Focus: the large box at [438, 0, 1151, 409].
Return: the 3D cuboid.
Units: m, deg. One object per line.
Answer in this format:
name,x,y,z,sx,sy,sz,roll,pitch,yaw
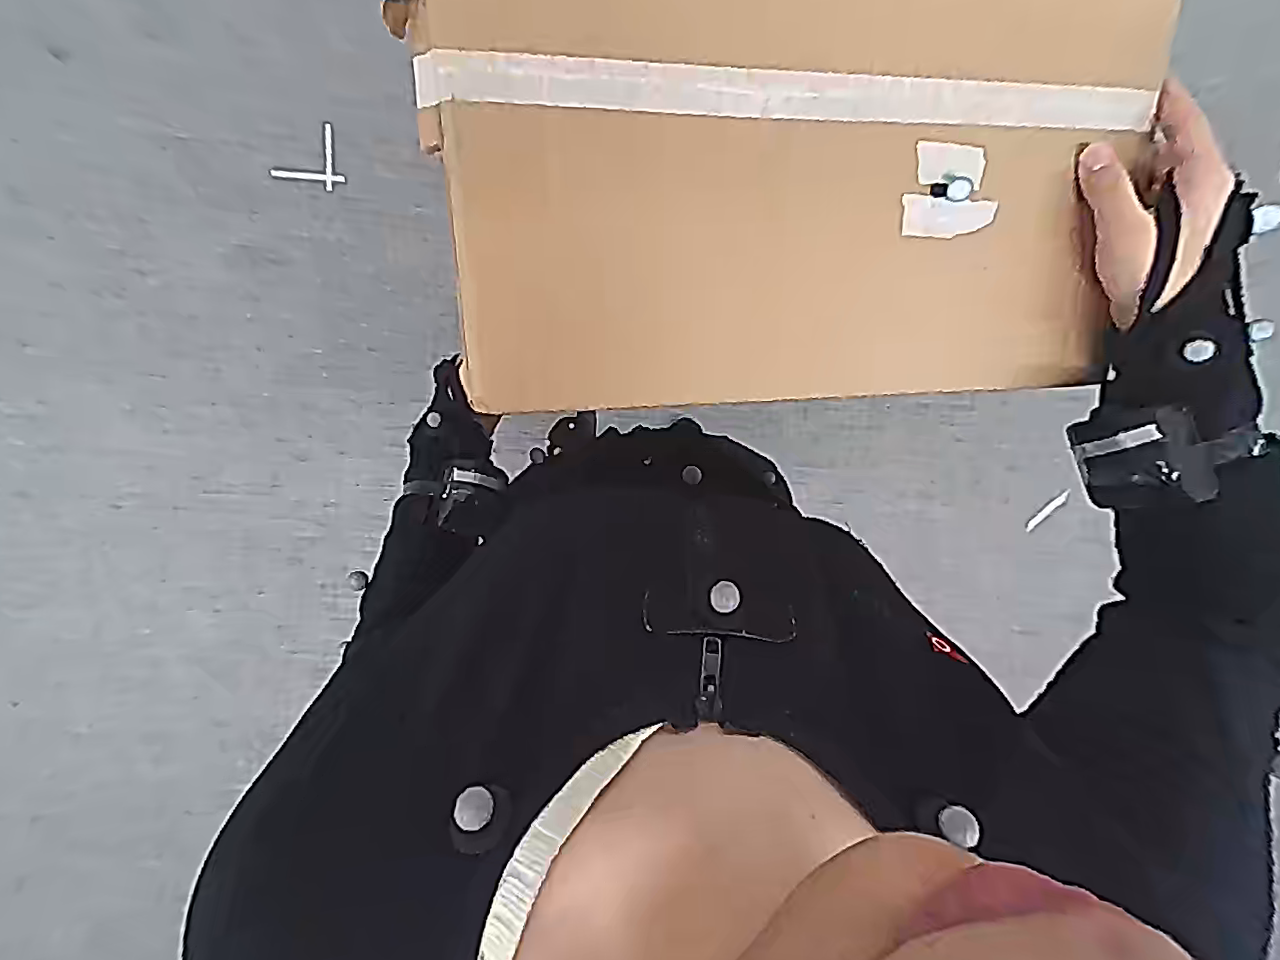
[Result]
large box,0.070,-0.239,0.435,0.408,0.320,0.320,-5,105,-11
